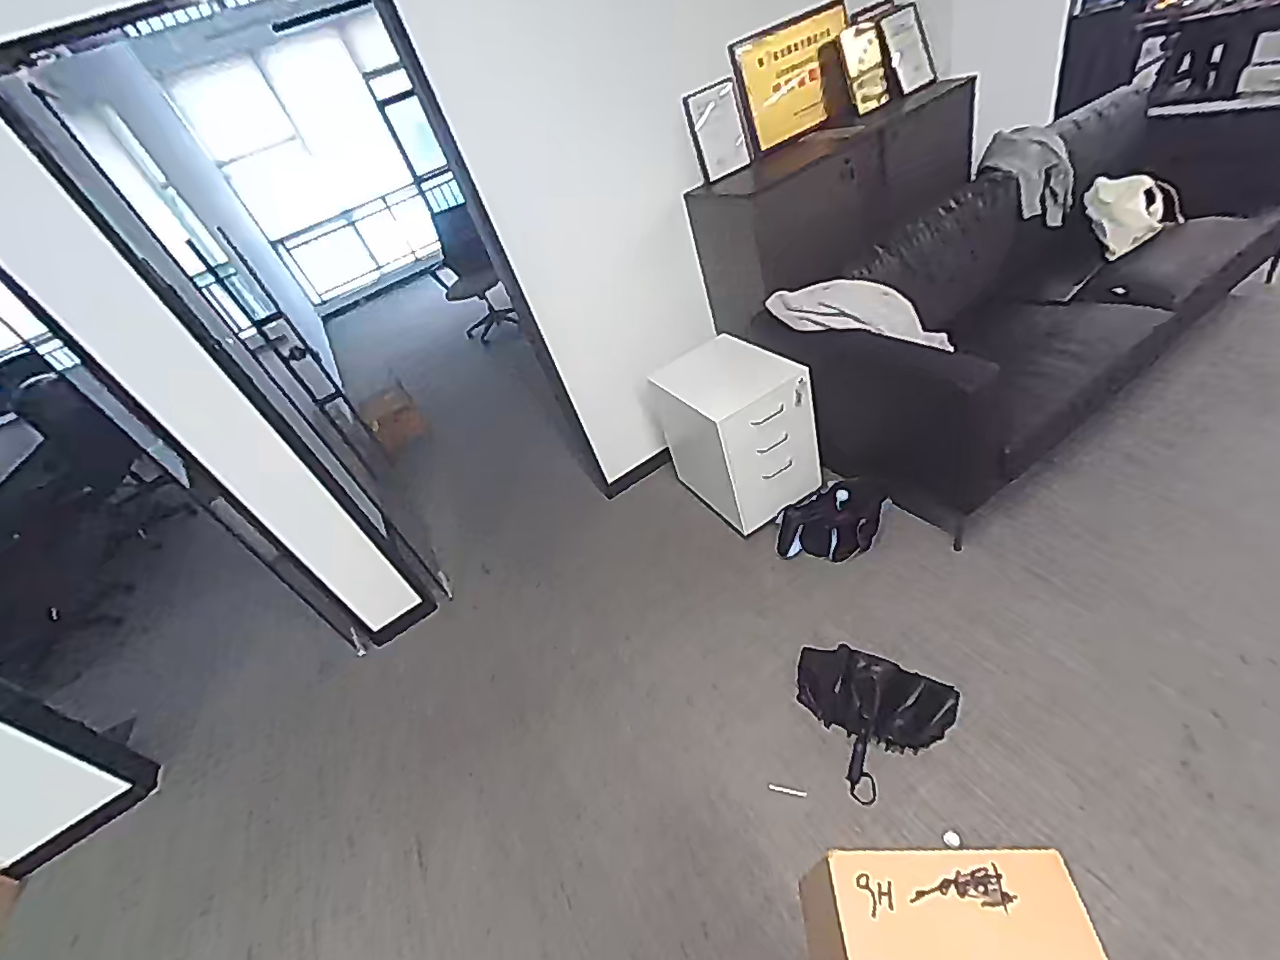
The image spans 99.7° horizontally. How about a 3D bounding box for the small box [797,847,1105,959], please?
[{"bbox_3d":[0.219,0.382,0.389,0.168,0.176,0.179,-2,47,3],"label":"small box"}]
